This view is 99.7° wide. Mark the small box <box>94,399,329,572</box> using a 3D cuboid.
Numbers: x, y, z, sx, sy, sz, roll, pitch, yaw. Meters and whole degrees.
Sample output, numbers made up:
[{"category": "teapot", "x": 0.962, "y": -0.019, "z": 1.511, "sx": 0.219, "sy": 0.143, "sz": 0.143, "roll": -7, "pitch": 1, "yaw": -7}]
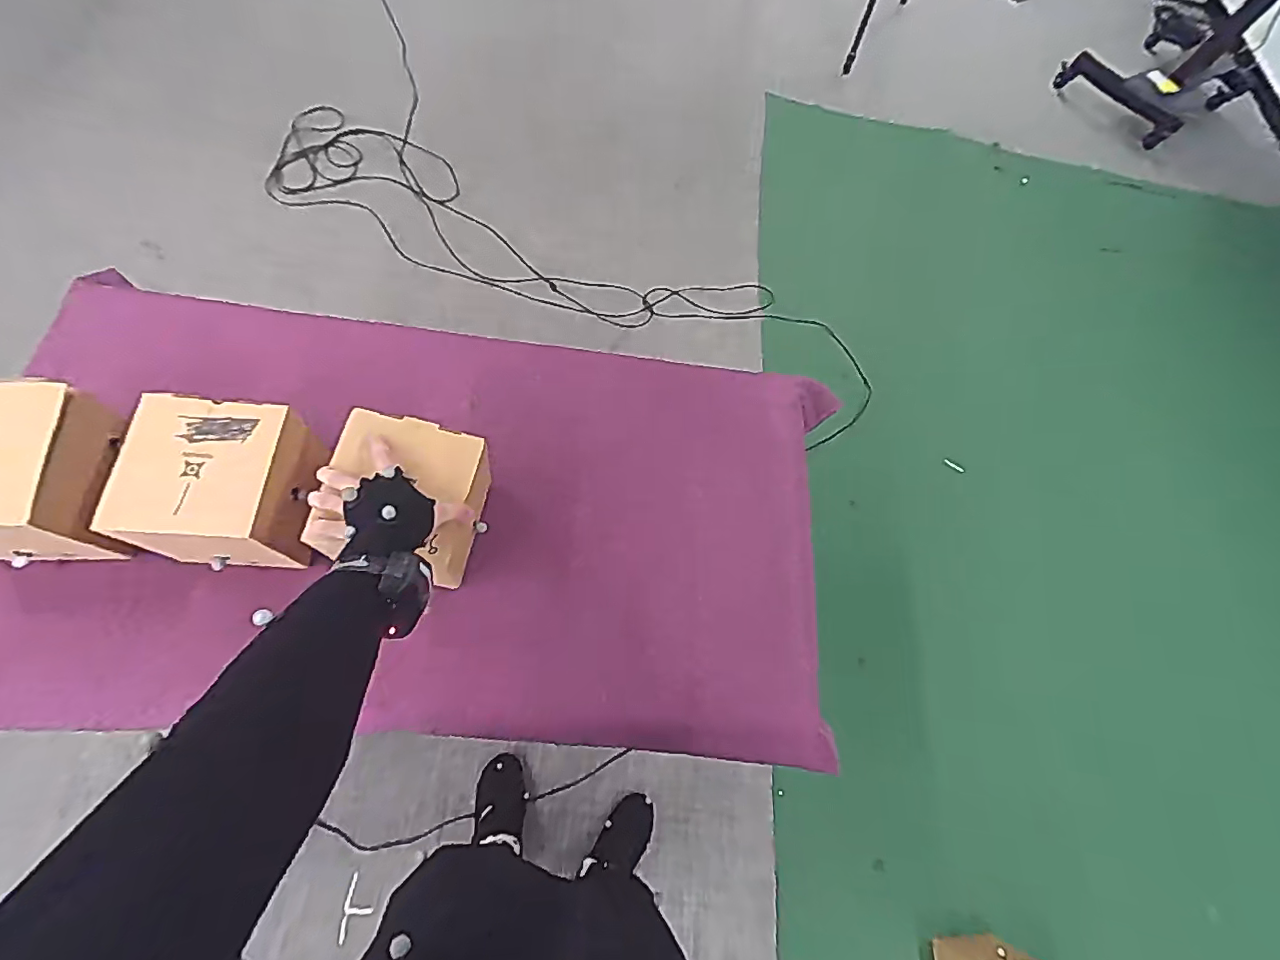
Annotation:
[{"category": "small box", "x": -0.539, "y": 0.015, "z": 0.717, "sx": 0.168, "sy": 0.176, "sz": 0.179, "roll": 5, "pitch": 69, "yaw": -7}]

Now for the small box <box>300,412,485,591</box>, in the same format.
[{"category": "small box", "x": -0.312, "y": 0.038, "z": 0.729, "sx": 0.168, "sy": 0.176, "sz": 0.179, "roll": 14, "pitch": 68, "yaw": -7}]

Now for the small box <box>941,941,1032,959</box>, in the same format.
[{"category": "small box", "x": 0.827, "y": 1.199, "z": 1.247, "sx": 0.179, "sy": 0.176, "sz": 0.168, "roll": 6, "pitch": 68, "yaw": -7}]

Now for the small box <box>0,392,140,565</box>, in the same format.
[{"category": "small box", "x": -0.764, "y": 0.004, "z": 0.687, "sx": 0.168, "sy": 0.176, "sz": 0.179, "roll": 0, "pitch": 69, "yaw": -8}]
